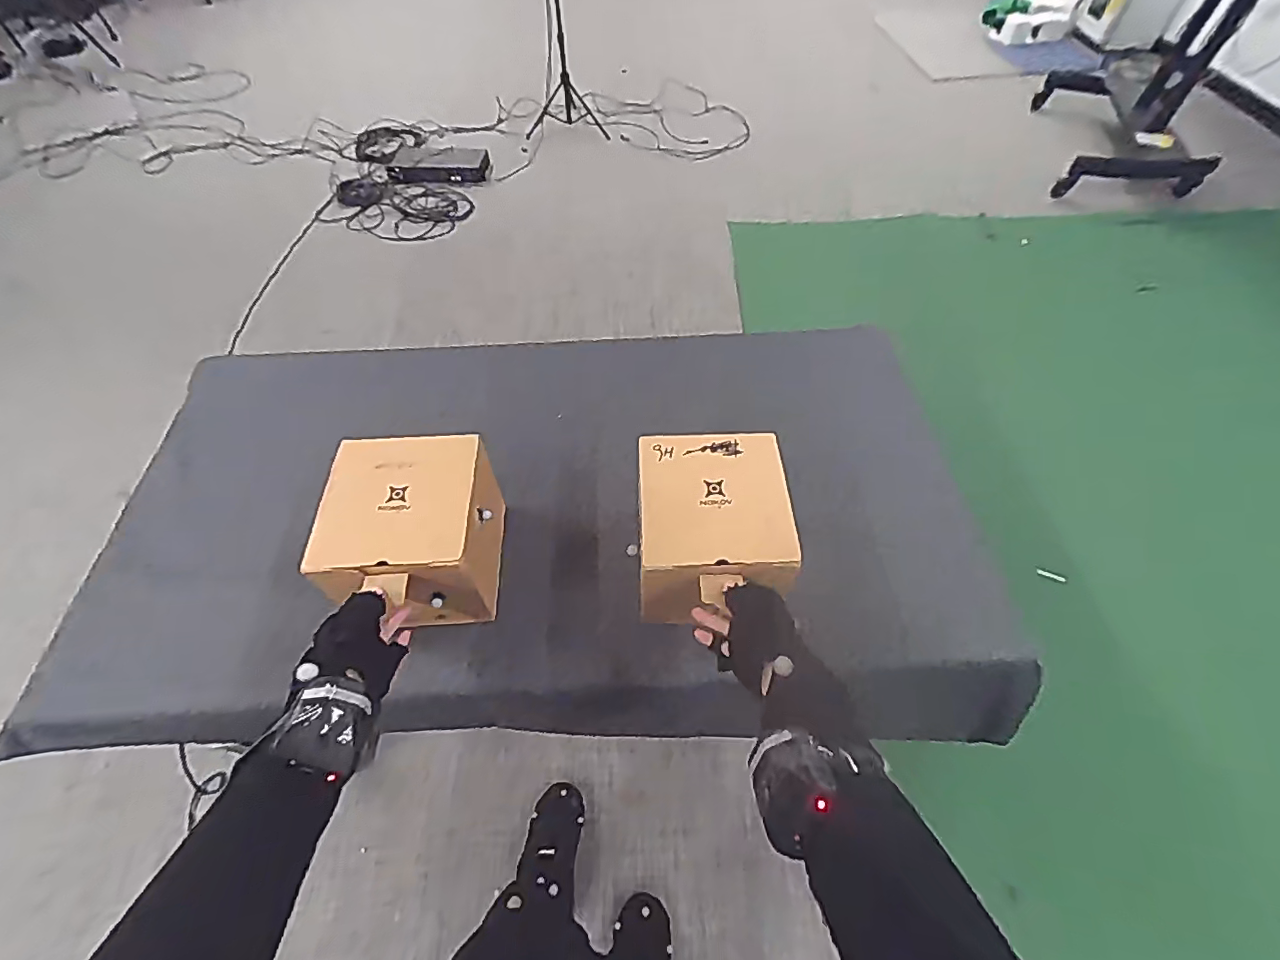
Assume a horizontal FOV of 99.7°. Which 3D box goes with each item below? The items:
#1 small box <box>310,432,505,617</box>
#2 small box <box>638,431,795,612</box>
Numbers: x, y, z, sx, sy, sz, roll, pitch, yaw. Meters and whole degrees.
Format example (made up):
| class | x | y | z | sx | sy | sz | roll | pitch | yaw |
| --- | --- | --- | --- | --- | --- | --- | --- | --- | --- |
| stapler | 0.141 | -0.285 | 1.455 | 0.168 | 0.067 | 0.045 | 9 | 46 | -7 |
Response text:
| class | x | y | z | sx | sy | sz | roll | pitch | yaw |
| --- | --- | --- | --- | --- | --- | --- | --- | --- | --- |
| small box | -0.269 | 0.063 | 0.676 | 0.168 | 0.176 | 0.179 | -3 | 54 | -4 |
| small box | 0.082 | 0.059 | 0.676 | 0.168 | 0.176 | 0.179 | -1 | 57 | -1 |
